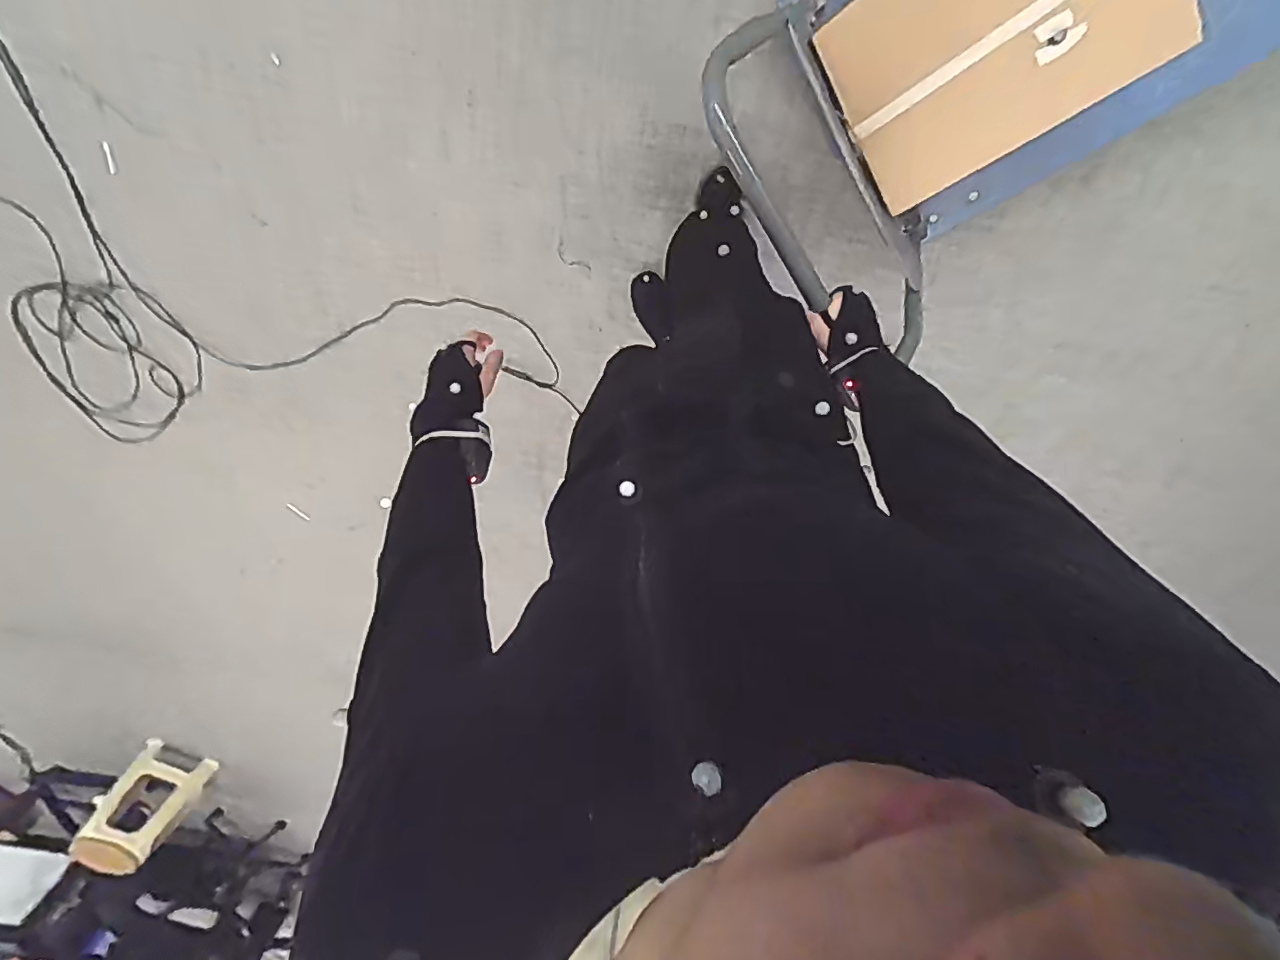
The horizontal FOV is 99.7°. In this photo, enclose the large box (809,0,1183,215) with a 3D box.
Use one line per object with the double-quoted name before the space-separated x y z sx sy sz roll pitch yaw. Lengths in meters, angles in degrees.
"large box" 0.543 -0.728 0.899 0.408 0.320 0.320 -22 118 34
